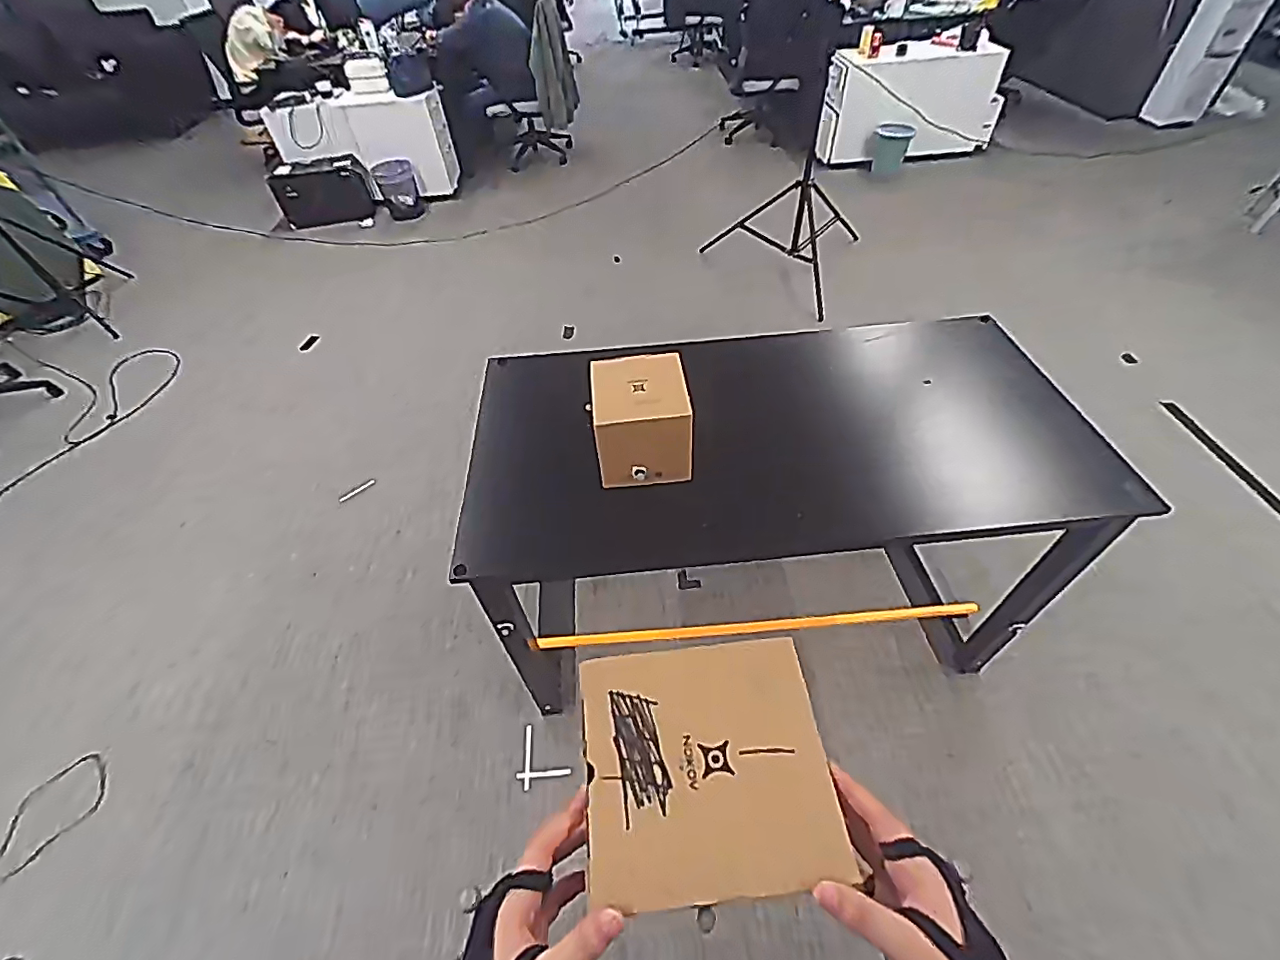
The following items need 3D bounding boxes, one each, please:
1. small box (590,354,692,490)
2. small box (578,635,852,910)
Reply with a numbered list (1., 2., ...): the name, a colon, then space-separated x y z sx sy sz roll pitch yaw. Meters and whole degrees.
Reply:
1. small box: 0.001 -0.106 1.002 0.168 0.176 0.179 -8 49 -1
2. small box: 0.048 0.249 0.455 0.179 0.176 0.168 -6 52 -2
